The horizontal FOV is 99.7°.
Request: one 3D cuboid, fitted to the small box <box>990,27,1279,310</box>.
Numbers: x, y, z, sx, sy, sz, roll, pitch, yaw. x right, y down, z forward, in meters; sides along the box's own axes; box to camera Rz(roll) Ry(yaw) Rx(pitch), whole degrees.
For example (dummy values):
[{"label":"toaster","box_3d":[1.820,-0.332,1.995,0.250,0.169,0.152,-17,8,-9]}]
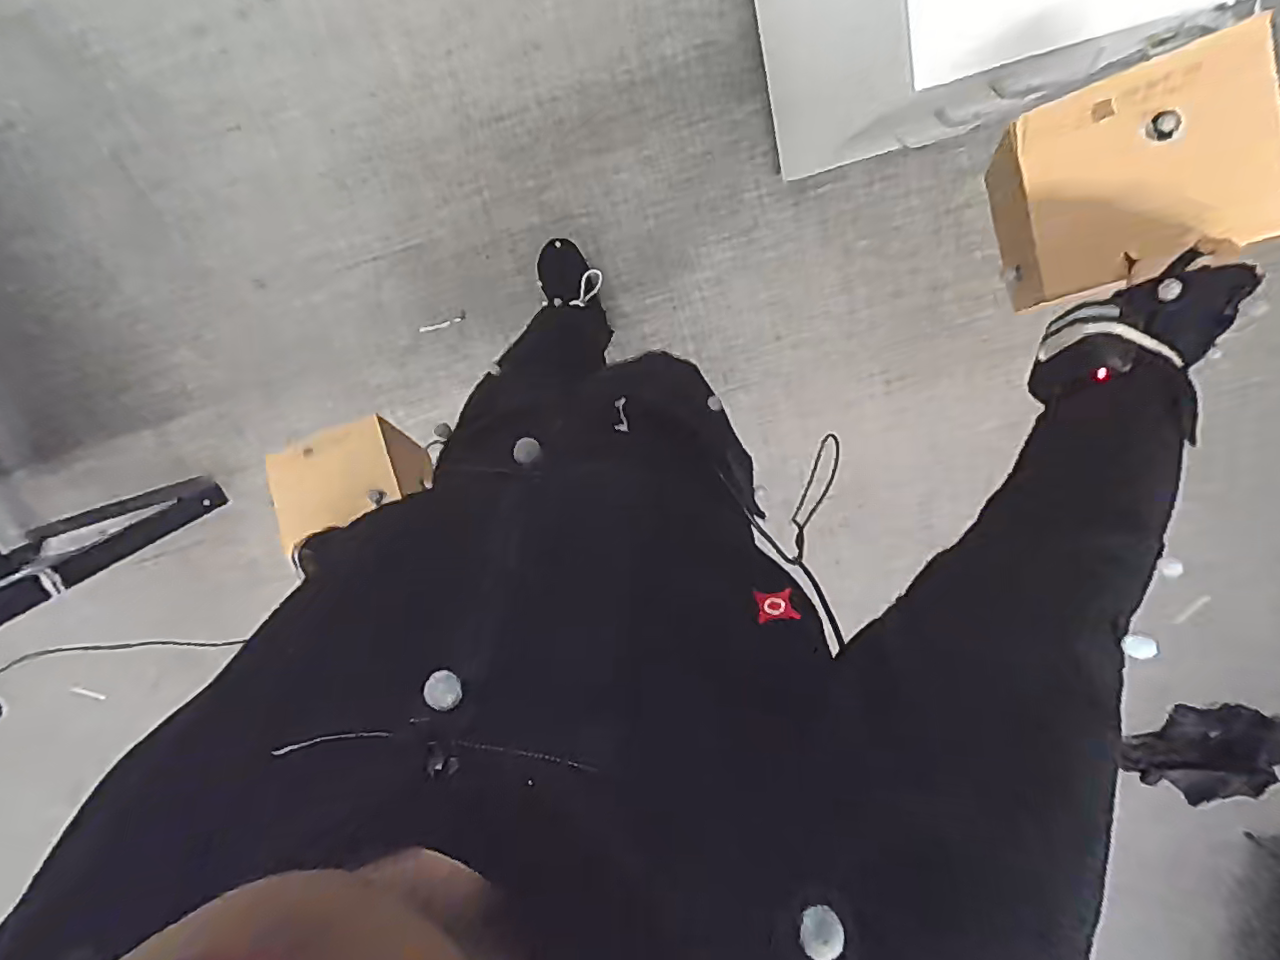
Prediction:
[{"label":"small box","box_3d":[0.459,-0.279,0.527,0.168,0.179,0.176,-14,96,29]}]
